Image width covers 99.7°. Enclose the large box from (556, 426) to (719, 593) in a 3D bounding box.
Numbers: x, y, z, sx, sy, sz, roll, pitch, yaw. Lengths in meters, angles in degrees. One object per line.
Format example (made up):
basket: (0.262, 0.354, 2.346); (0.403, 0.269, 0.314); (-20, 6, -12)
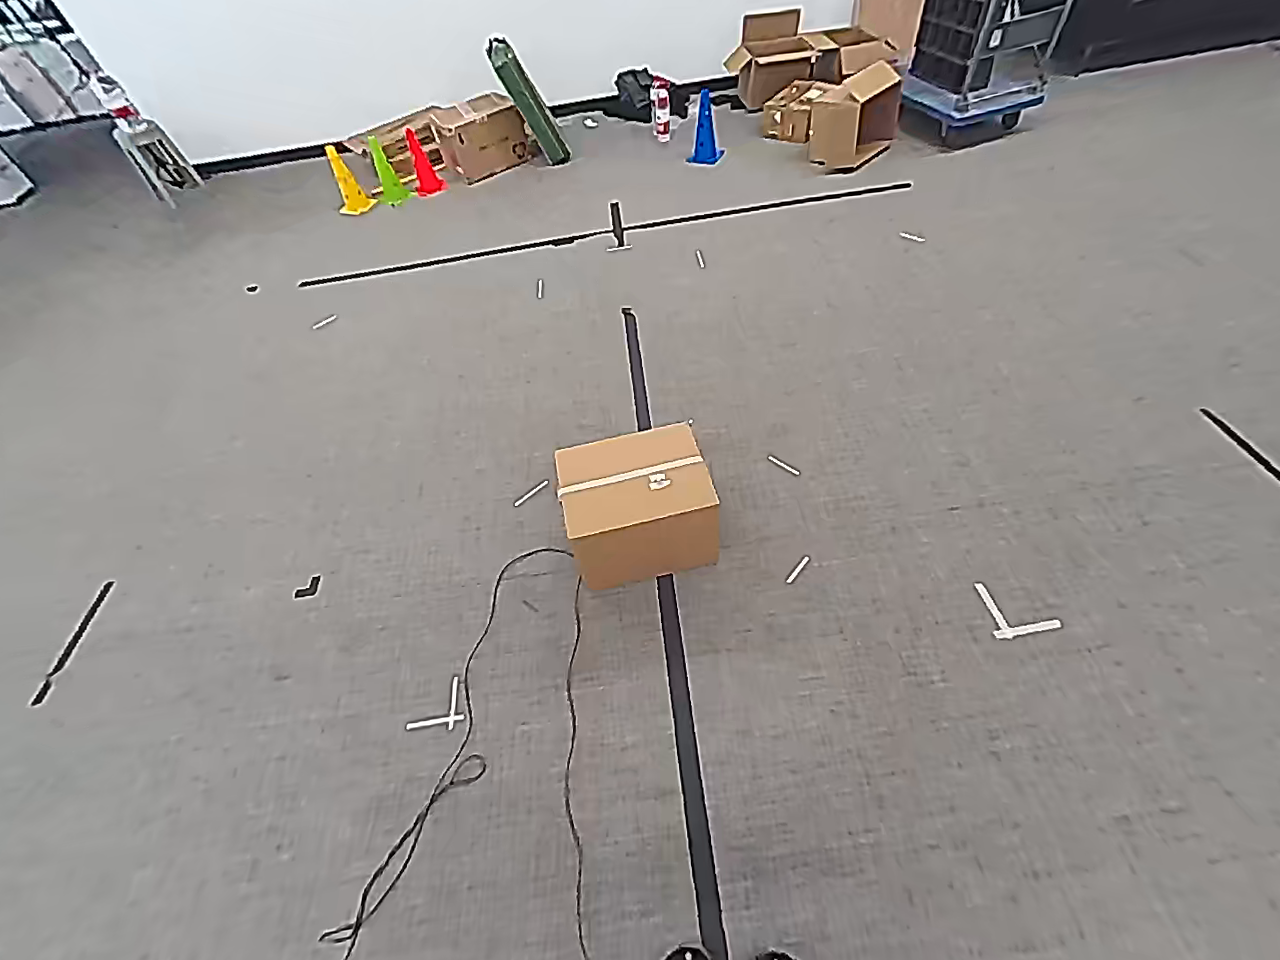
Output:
large box: (-0.007, 0.091, 1.594); (0.408, 0.320, 0.320); (-12, 52, -4)
